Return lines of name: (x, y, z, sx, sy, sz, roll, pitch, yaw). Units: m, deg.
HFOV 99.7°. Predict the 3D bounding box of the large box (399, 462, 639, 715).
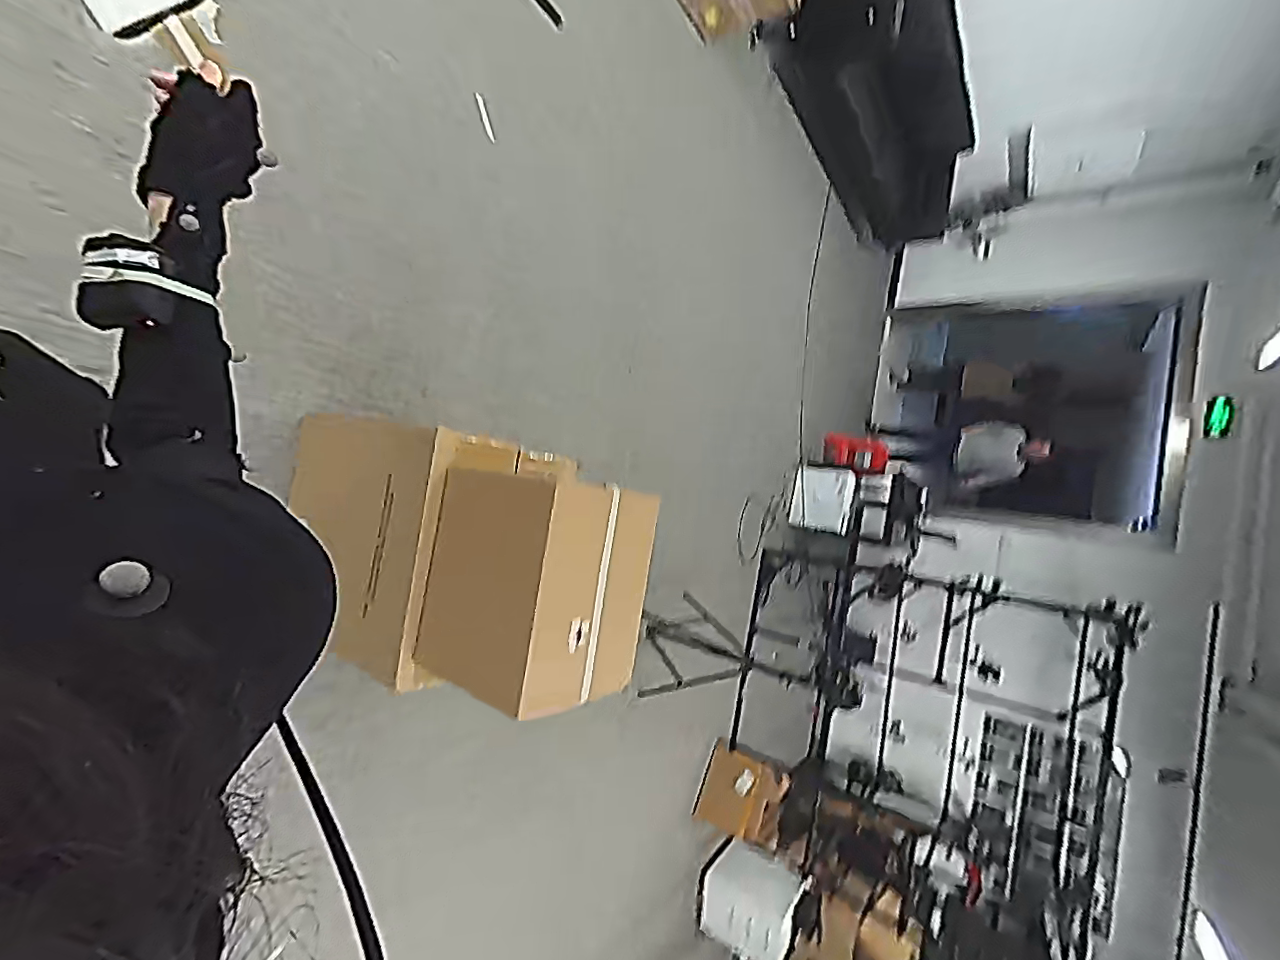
large box: (-0.238, 0.192, 1.099, 0.320, 0.320, 0.408, 13, 86, -54)
